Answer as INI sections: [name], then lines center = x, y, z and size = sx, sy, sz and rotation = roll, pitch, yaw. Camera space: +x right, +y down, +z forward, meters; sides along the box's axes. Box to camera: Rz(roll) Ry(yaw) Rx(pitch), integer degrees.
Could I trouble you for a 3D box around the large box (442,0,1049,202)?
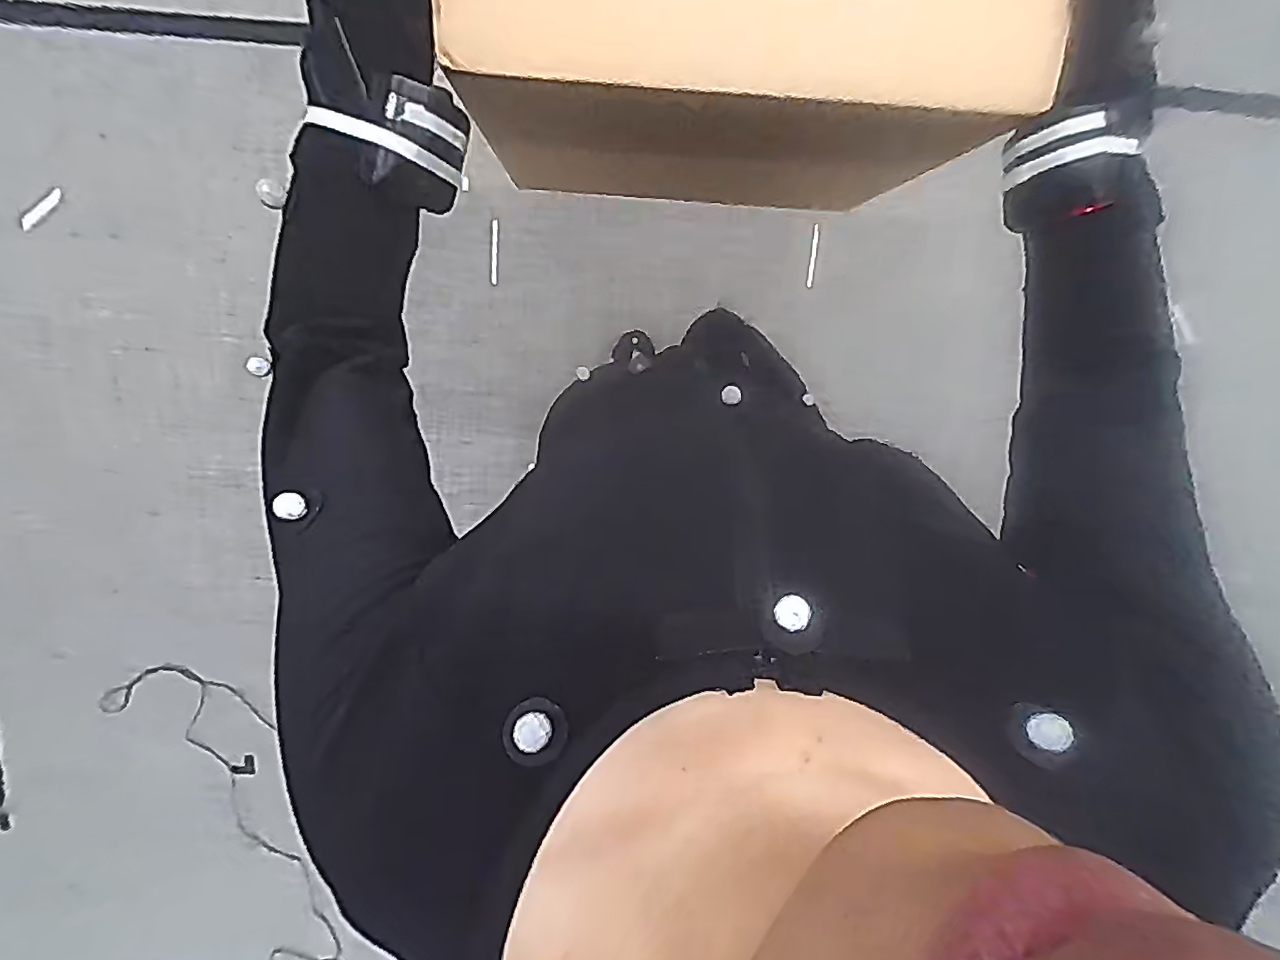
[large box]
center = 0.065, -0.449, 0.464
size = 0.408, 0.320, 0.320
rotation = 1, 106, -5
